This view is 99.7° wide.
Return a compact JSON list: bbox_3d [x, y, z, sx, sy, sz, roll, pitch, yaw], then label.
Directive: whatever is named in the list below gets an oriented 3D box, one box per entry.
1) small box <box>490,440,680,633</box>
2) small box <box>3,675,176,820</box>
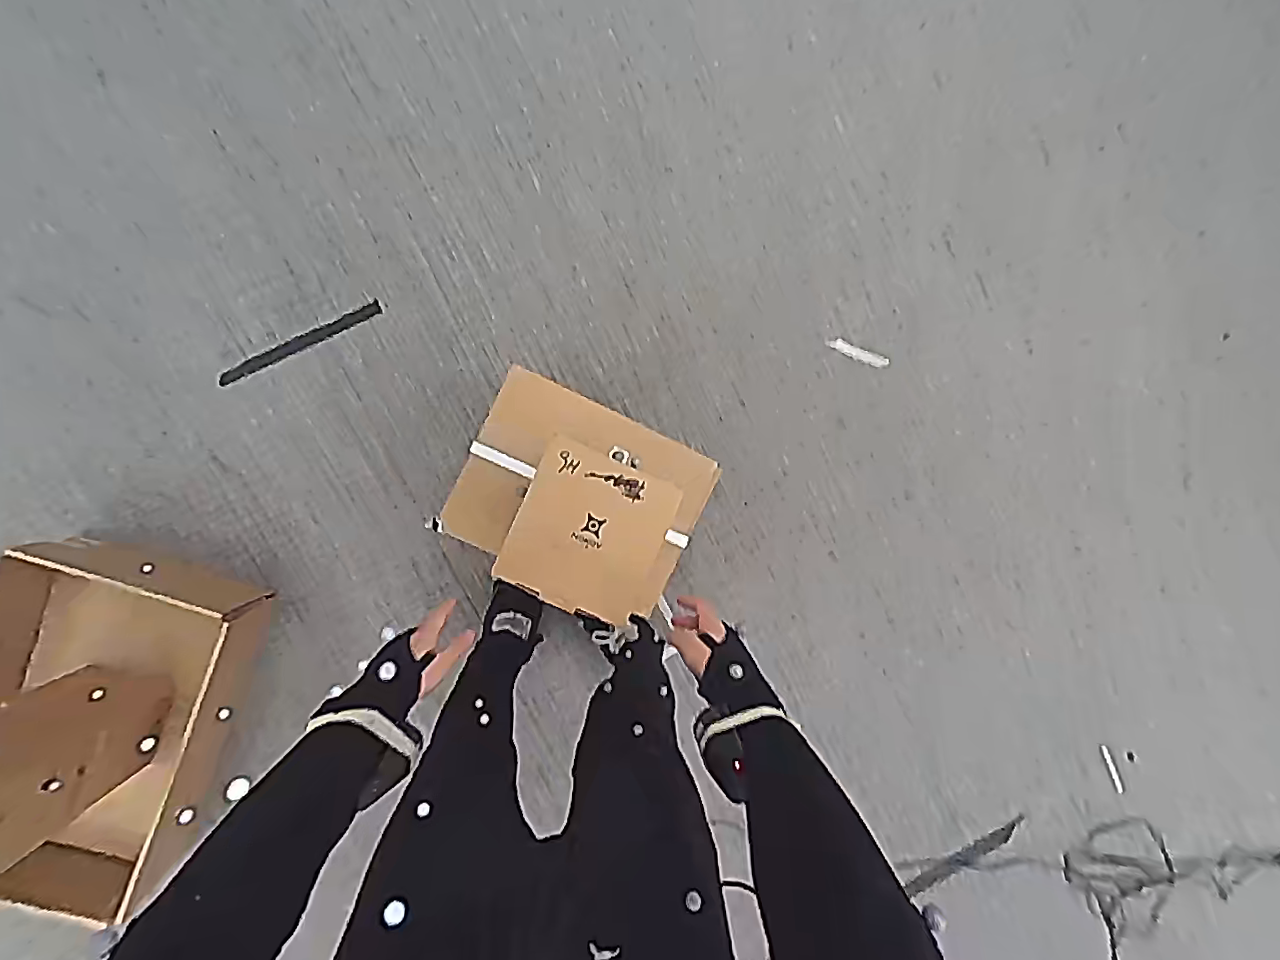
[{"bbox_3d":[-0.069,0.062,0.692,0.168,0.176,0.179,25,90,-9],"label":"small box"},{"bbox_3d":[-1.046,0.491,1.019,0.179,0.176,0.168,20,90,-8],"label":"small box"}]
